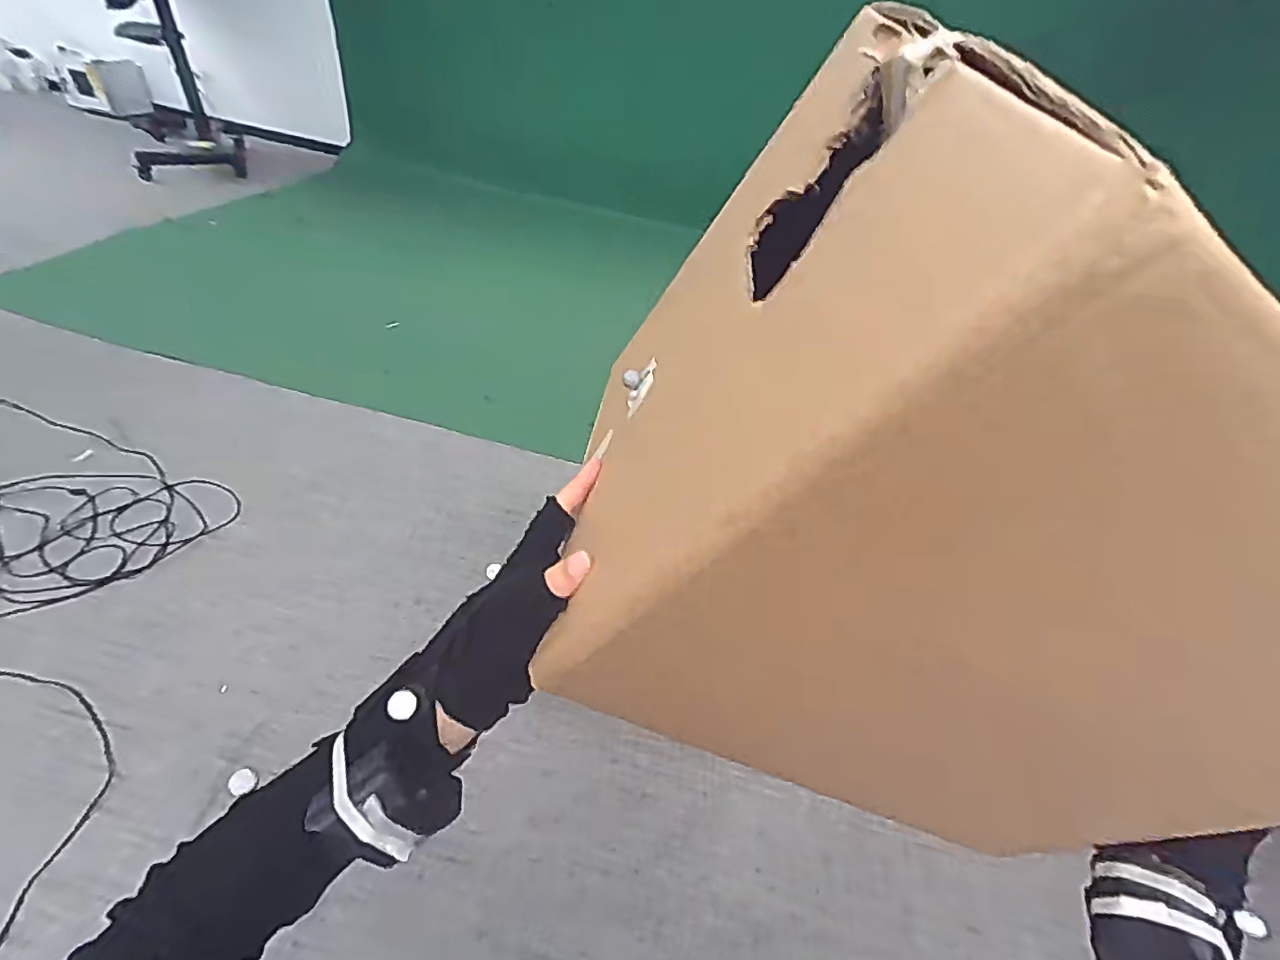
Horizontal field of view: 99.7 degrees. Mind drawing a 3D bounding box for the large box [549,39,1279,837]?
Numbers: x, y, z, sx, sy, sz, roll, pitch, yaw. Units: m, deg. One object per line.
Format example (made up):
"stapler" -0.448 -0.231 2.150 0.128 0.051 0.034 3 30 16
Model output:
"large box" 0.203 0.008 0.375 0.408 0.320 0.320 28 44 -17
